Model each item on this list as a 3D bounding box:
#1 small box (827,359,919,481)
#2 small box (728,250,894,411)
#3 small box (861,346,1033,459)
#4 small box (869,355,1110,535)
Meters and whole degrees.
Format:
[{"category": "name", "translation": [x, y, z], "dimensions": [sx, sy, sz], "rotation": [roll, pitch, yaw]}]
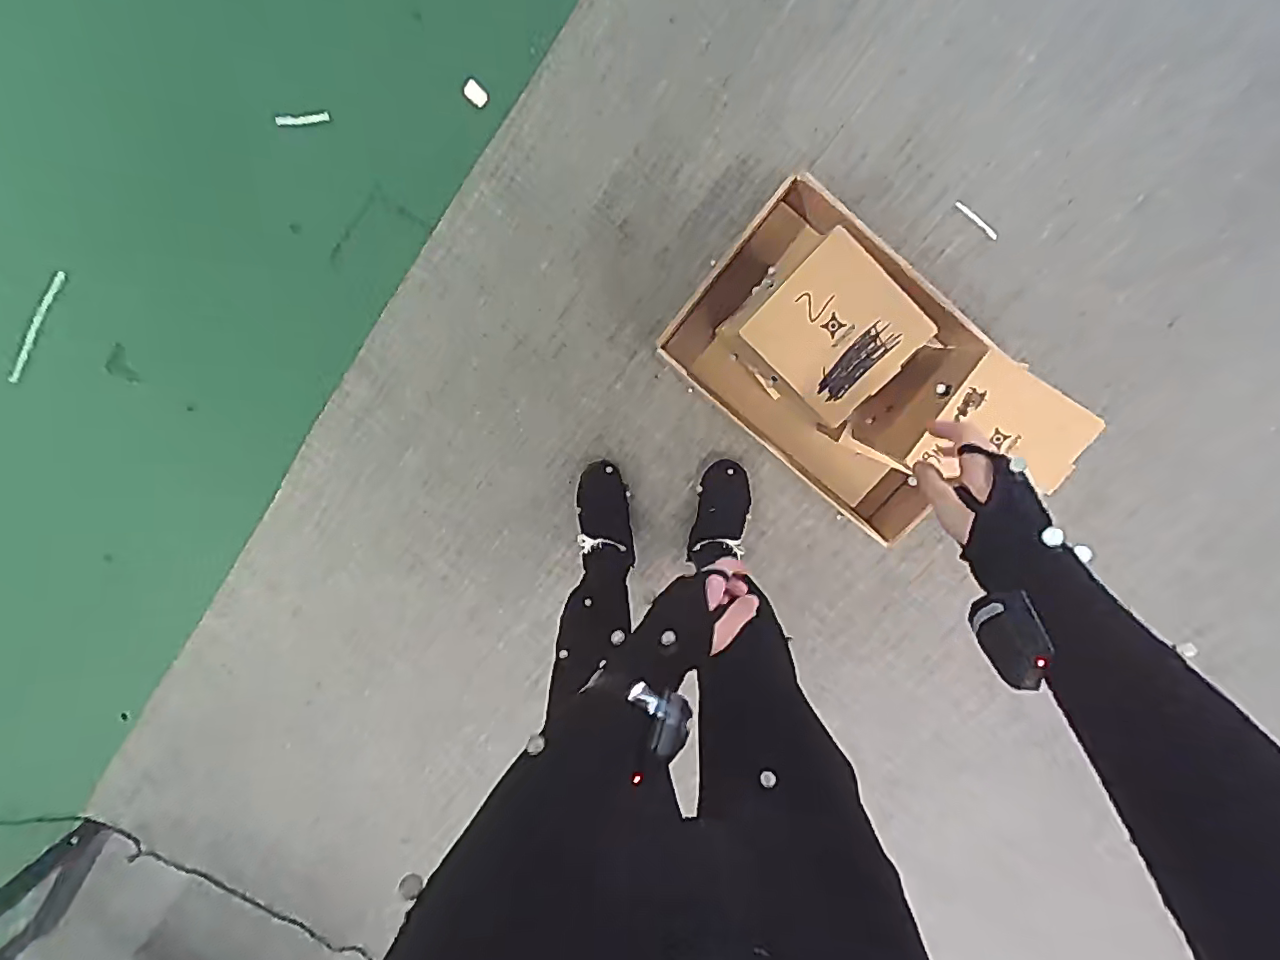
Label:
[{"category": "small box", "translation": [0.484, -0.123, 1.052], "dimensions": [0.168, 0.176, 0.179], "rotation": [23, 103, 0]}, {"category": "small box", "translation": [0.261, -0.233, 0.875], "dimensions": [0.179, 0.176, 0.168], "rotation": [42, 102, -7]}, {"category": "small box", "translation": [0.484, -0.114, 0.886], "dimensions": [0.168, 0.176, 0.179], "rotation": [13, 103, 1]}, {"category": "small box", "translation": [0.452, -0.059, 0.733], "dimensions": [0.179, 0.176, 0.168], "rotation": [32, 104, -4]}]
